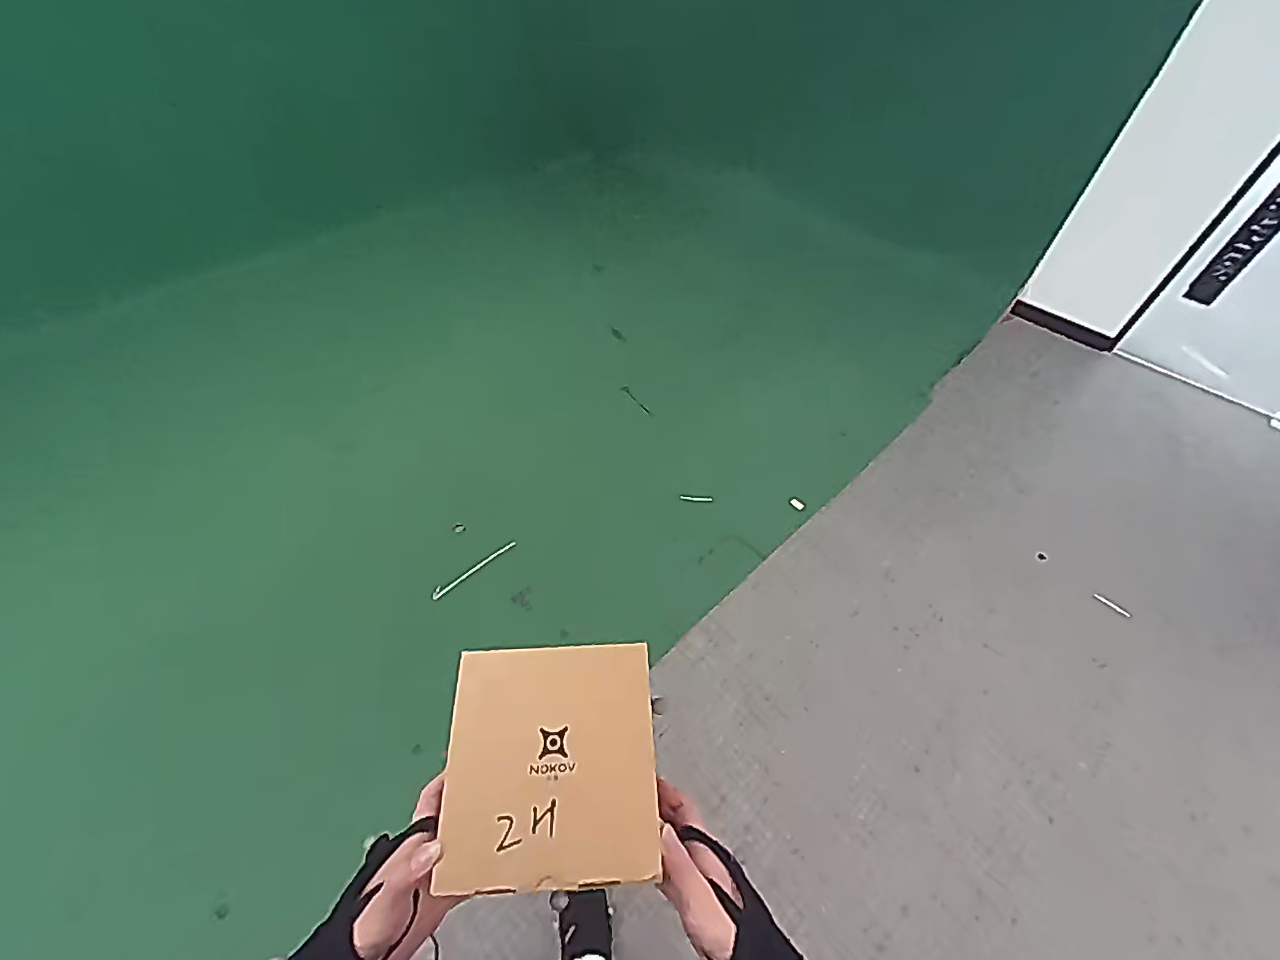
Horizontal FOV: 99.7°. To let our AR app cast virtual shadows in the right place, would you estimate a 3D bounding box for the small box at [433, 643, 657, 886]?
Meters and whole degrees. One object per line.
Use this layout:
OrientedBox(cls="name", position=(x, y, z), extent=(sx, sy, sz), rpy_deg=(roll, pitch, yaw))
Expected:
OrientedBox(cls="small box", position=(-0.075, 0.267, 0.506), extent=(0.168, 0.176, 0.179), rpy_deg=(-1, 55, -3))
